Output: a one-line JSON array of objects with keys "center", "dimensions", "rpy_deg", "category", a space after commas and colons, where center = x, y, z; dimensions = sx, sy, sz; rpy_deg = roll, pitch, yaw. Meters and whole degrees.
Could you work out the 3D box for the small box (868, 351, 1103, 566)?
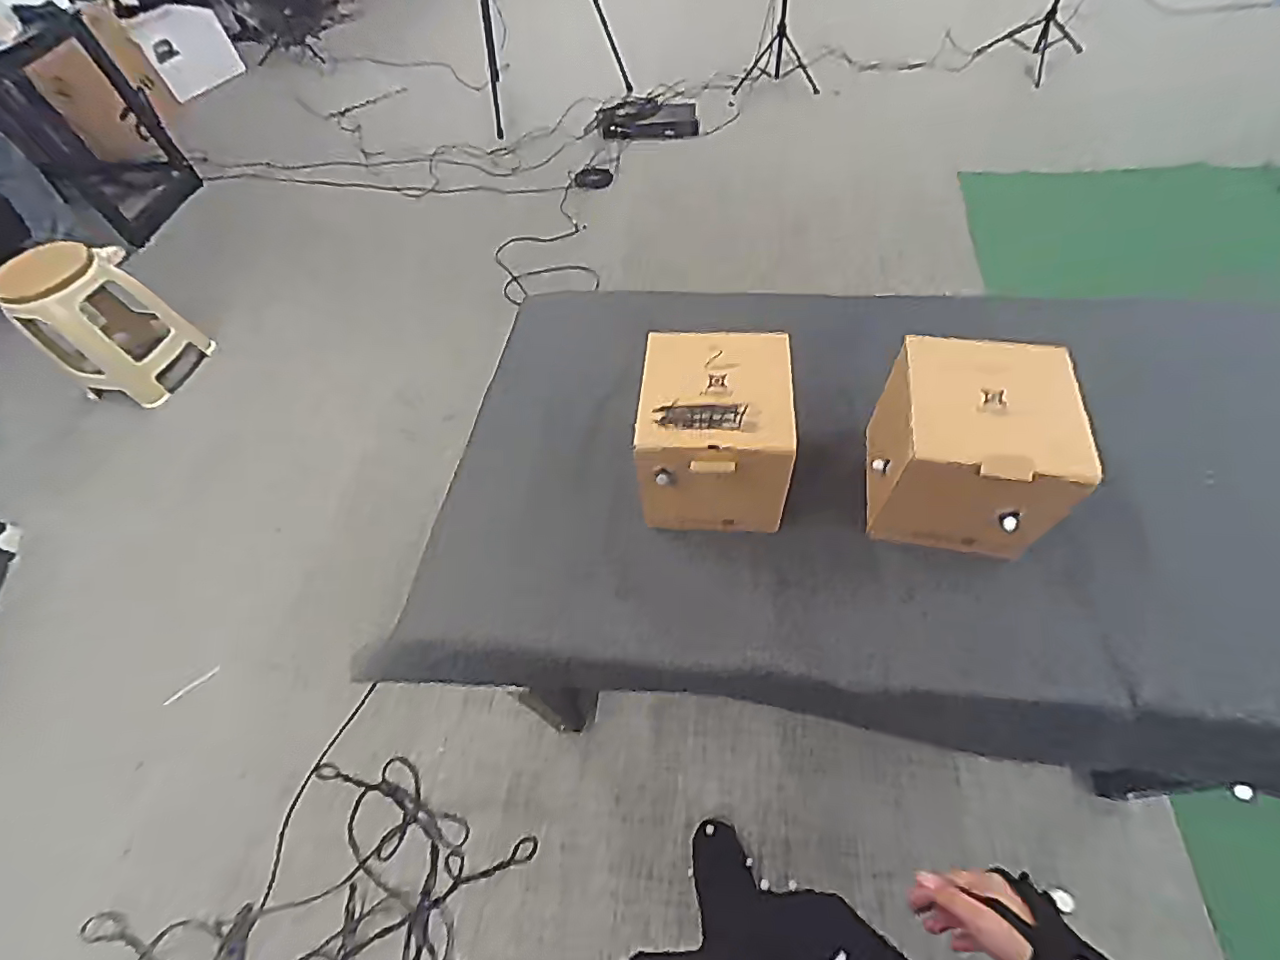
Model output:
[{"center": [0.367, -0.021, 0.616], "dimensions": [0.168, 0.176, 0.179], "rpy_deg": [7, 56, 11], "category": "small box"}]
